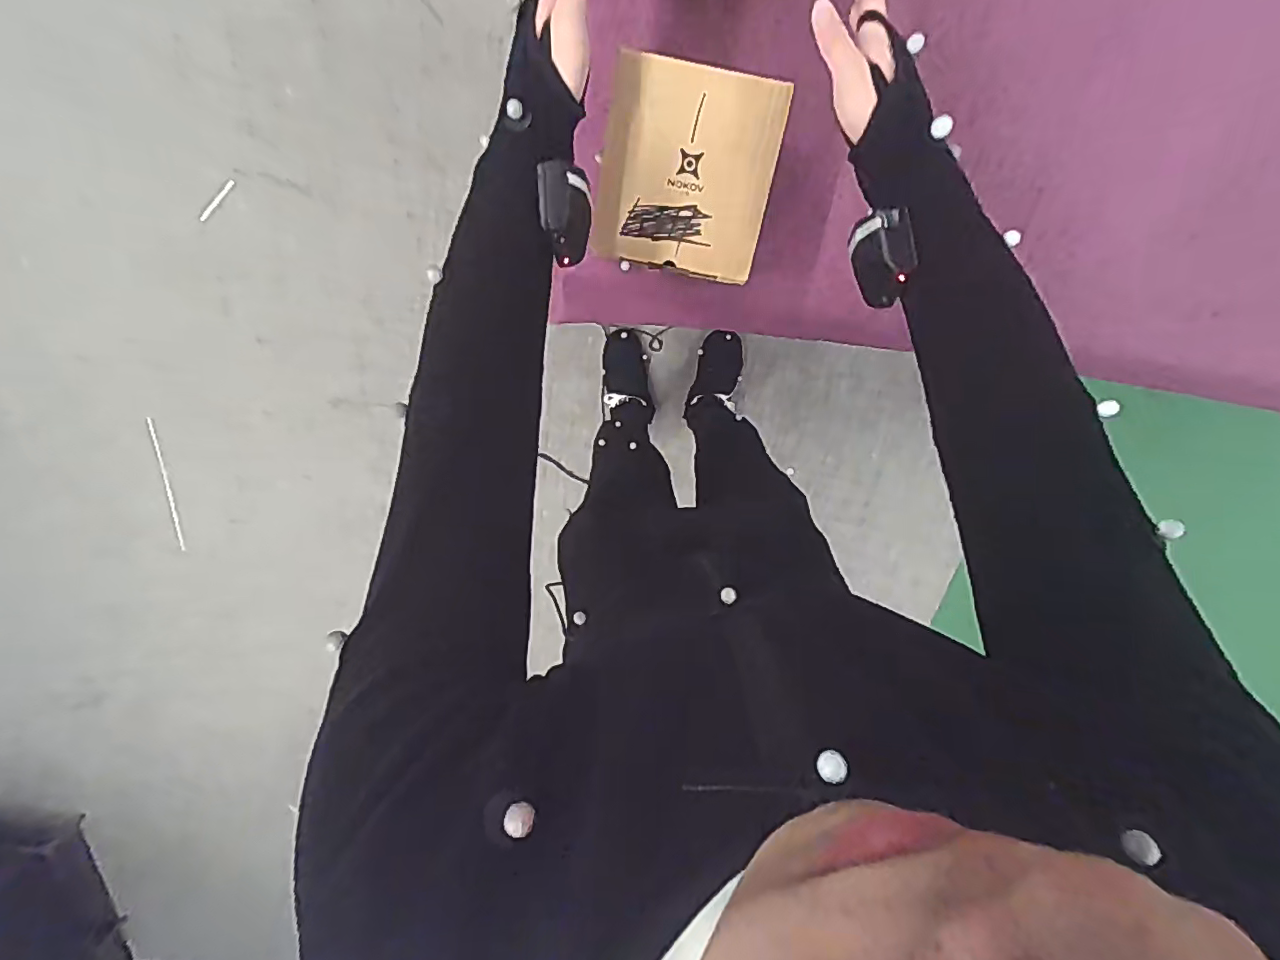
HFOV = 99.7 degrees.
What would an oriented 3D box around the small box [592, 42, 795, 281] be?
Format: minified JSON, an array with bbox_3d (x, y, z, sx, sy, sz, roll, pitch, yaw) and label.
[{"bbox_3d":[0.049,-0.327,0.589,0.168,0.176,0.179,10,112,-3],"label":"small box"}]
